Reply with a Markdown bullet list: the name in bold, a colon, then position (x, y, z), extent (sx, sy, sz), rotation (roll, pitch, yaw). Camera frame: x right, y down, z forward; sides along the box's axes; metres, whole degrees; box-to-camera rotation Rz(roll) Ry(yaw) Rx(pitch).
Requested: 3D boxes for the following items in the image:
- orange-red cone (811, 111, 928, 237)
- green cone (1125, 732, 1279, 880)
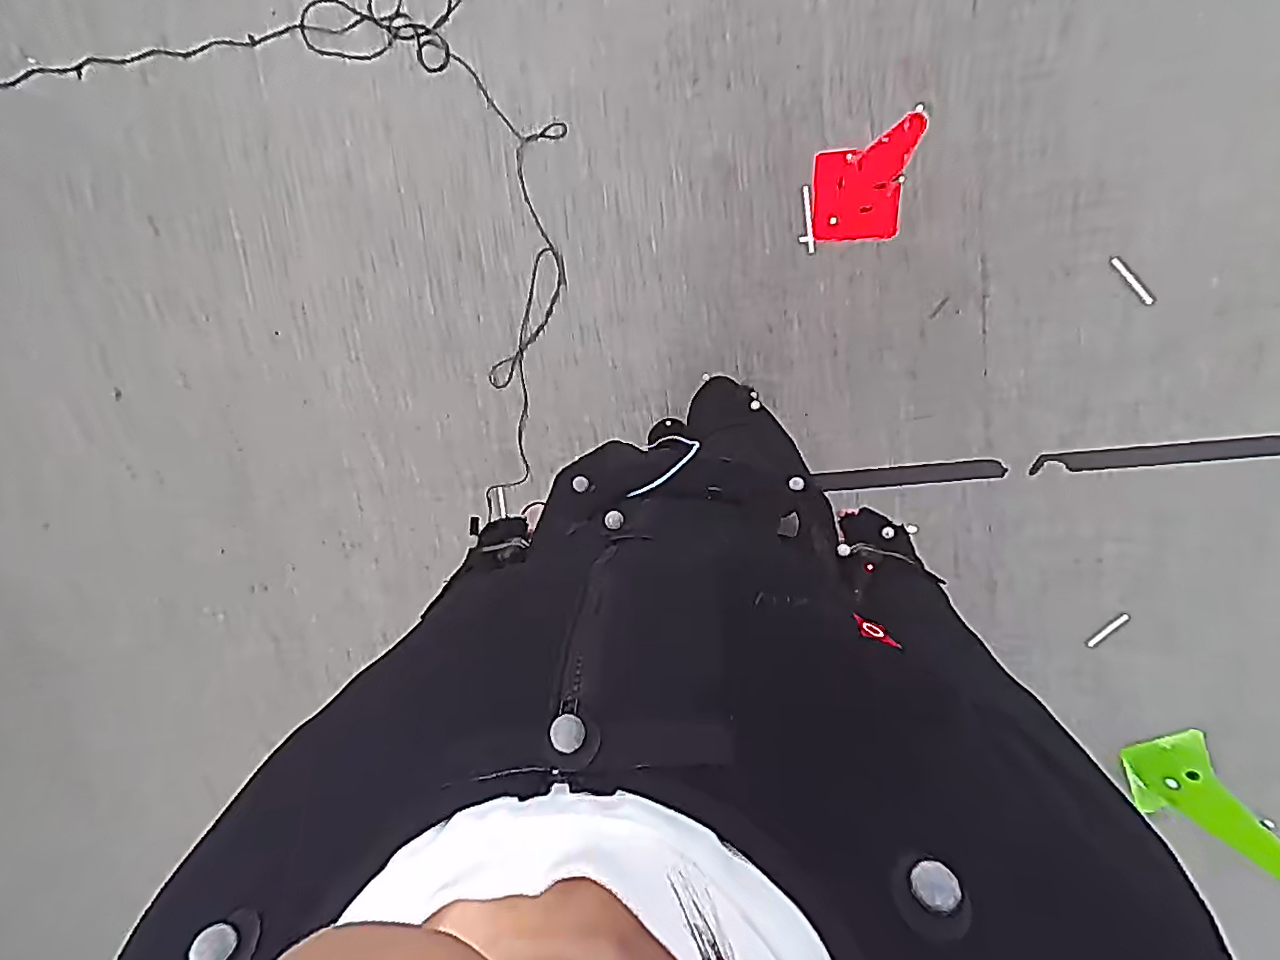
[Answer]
- **orange-red cone**: position (0.493, -0.644, 1.097), extent (0.199, 0.360, 0.198), rotation (1, 100, 4)
- **green cone**: position (1.372, 0.790, 1.242), extent (0.202, 0.368, 0.200), rotation (-21, 96, 10)
